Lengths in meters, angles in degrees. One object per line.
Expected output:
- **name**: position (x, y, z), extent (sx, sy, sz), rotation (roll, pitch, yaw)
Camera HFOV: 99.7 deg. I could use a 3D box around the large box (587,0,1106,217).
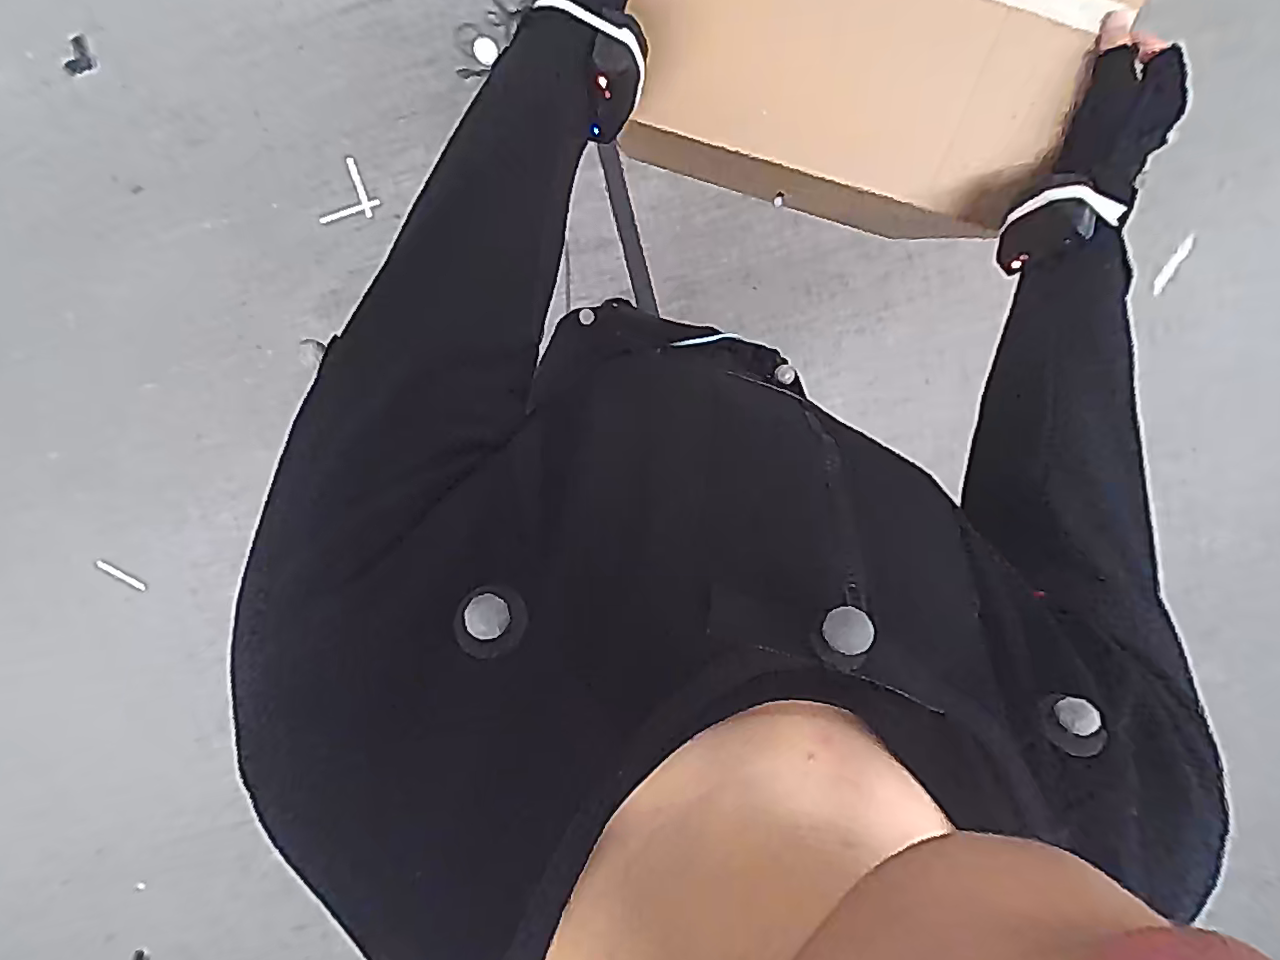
- **large box**: position (0.191, -0.487, 0.560), extent (0.408, 0.320, 0.320), rotation (15, 113, -3)
